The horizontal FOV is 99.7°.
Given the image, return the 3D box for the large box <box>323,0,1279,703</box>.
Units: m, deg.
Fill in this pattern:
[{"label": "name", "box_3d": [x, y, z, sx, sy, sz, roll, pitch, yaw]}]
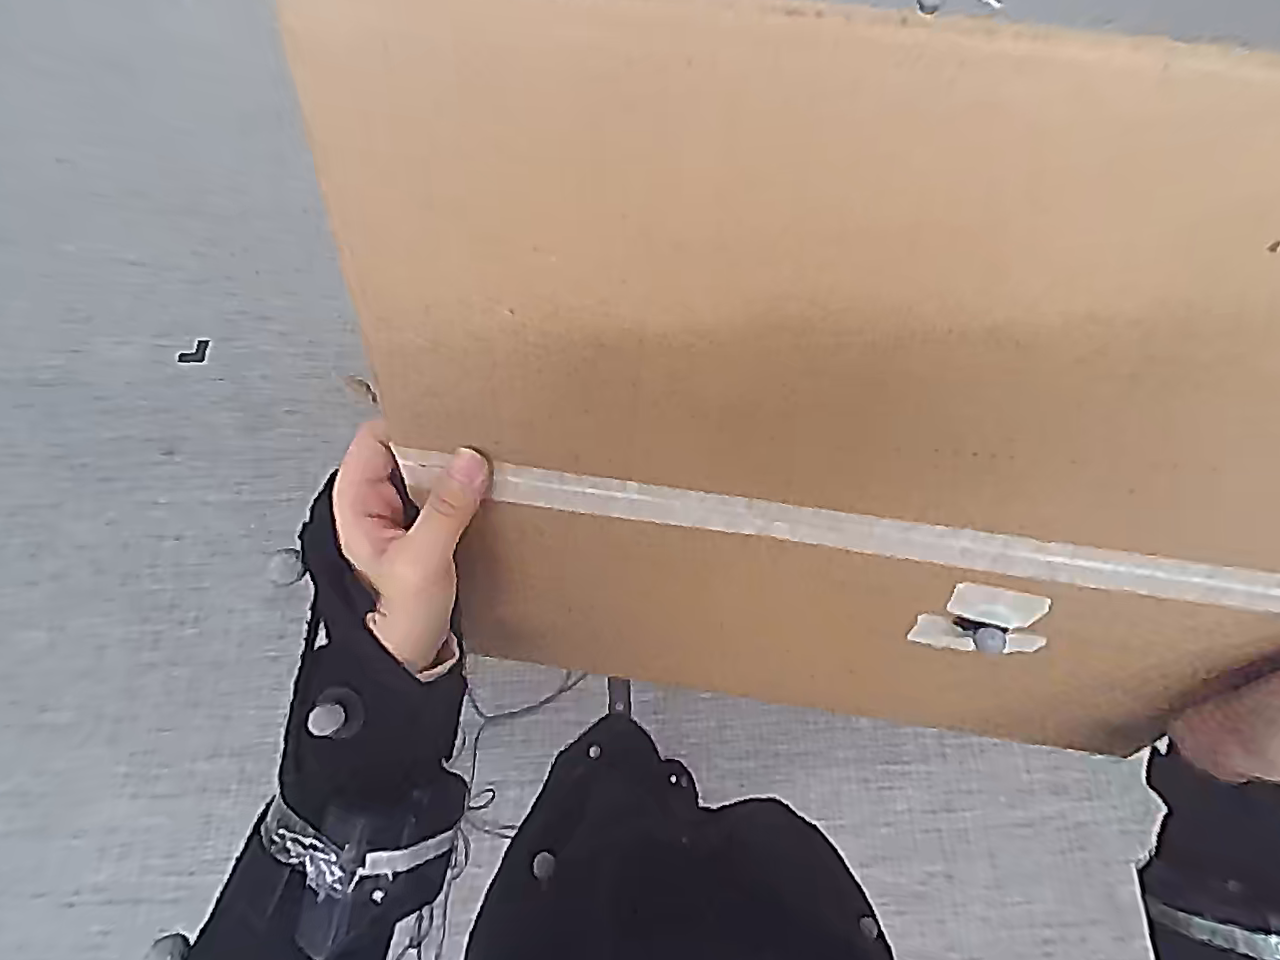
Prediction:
[{"label": "large box", "box_3d": [0.119, -0.104, 0.333, 0.408, 0.320, 0.320, 7, 42, 2]}]
